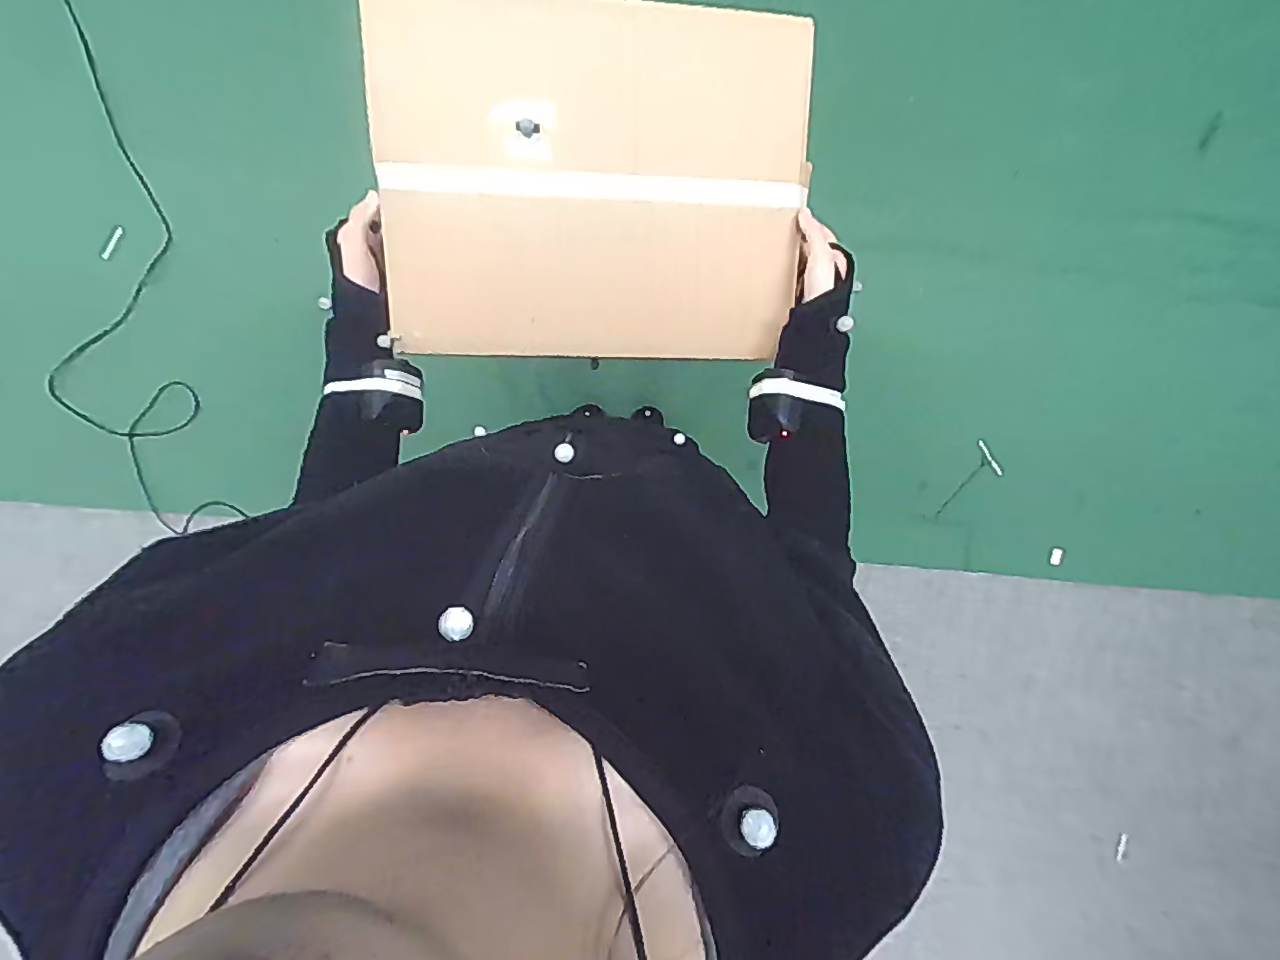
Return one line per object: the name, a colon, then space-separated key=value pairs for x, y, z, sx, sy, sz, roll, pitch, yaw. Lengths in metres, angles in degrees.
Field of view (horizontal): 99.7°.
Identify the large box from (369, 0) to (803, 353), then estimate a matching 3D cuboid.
large box: x=-0.058 y=-0.326 z=0.671 sx=0.408 sy=0.320 sz=0.320 roll=0 pitch=104 yaw=-7
